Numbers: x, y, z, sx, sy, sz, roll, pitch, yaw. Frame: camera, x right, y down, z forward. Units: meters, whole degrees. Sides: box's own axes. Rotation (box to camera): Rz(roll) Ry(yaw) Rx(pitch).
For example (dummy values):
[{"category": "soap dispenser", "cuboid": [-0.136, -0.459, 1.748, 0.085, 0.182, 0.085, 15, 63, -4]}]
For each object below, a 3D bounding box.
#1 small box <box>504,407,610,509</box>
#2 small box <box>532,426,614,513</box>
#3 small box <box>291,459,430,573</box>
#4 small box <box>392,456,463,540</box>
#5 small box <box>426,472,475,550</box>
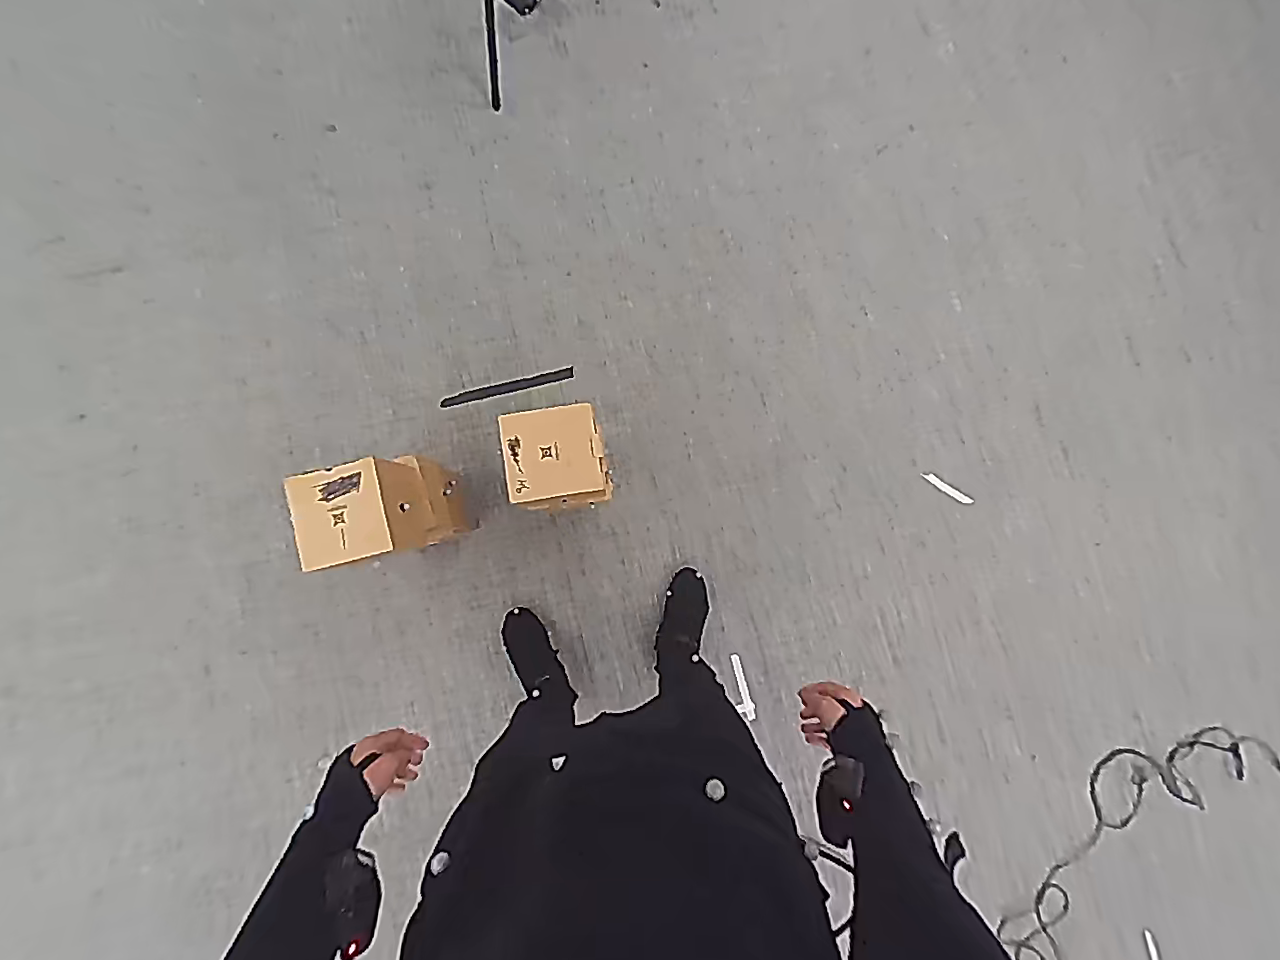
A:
[{"category": "small box", "cuboid": [-0.157, -0.038, 1.061, 0.179, 0.176, 0.168, -8, 85, -4]}, {"category": "small box", "cuboid": [-0.156, -0.018, 1.224, 0.179, 0.176, 0.168, -8, 85, -3]}, {"category": "small box", "cuboid": [-0.526, 0.070, 1.039, 0.168, 0.176, 0.179, -14, 86, -1]}, {"category": "small box", "cuboid": [-0.521, 0.058, 1.205, 0.179, 0.176, 0.168, -18, 86, -3]}, {"category": "small box", "cuboid": [-0.538, 0.079, 1.367, 0.168, 0.176, 0.179, -17, 86, -3]}]
